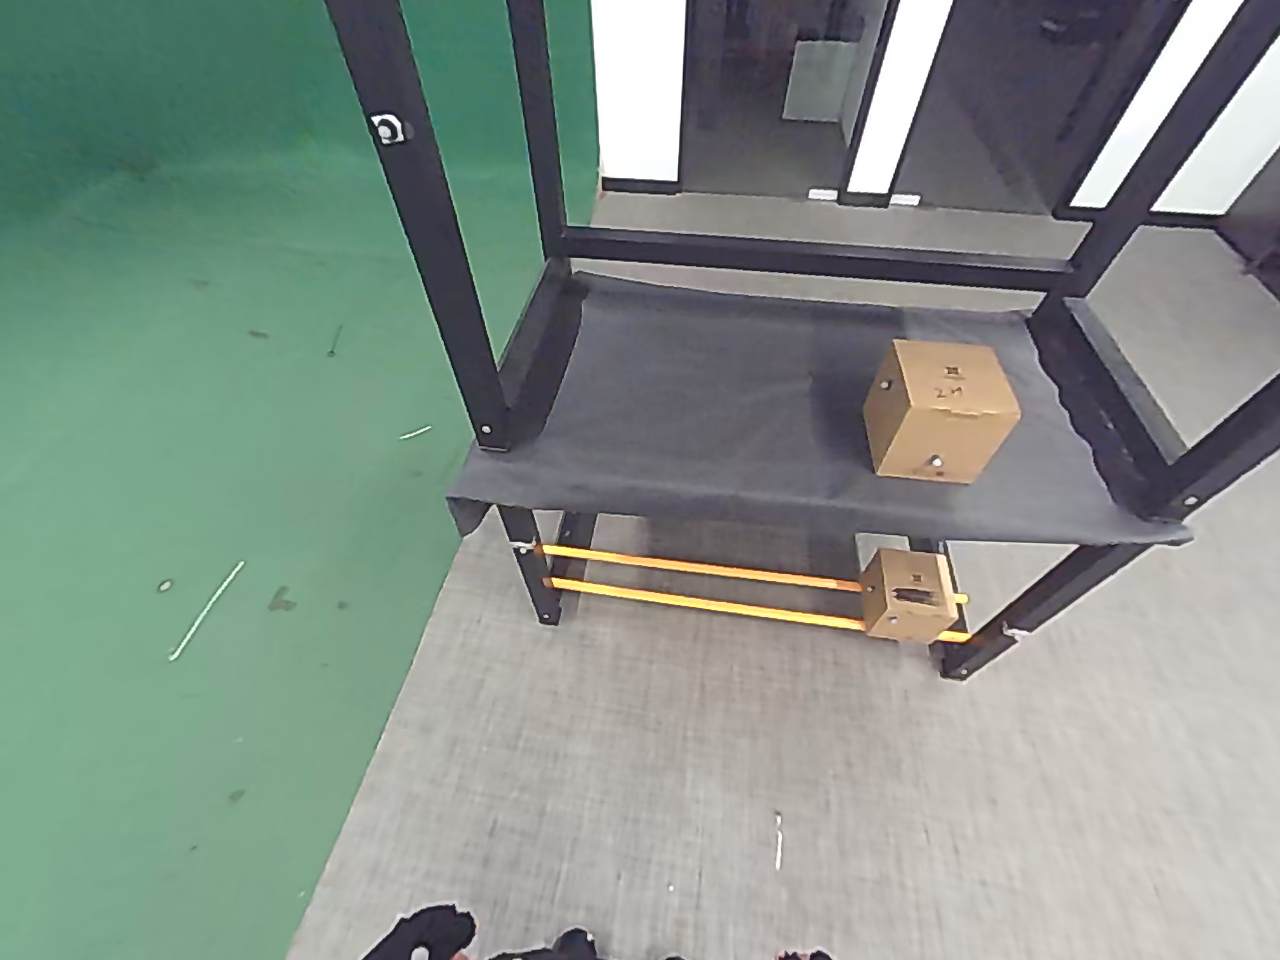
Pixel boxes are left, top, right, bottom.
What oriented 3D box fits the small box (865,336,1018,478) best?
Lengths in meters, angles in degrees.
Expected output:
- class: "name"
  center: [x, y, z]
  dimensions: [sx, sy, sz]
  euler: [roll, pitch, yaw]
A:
- class: "small box"
  center: [0.509, -0.127, 0.946]
  dimensions: [0.168, 0.176, 0.179]
  euler: [5, 50, 5]
